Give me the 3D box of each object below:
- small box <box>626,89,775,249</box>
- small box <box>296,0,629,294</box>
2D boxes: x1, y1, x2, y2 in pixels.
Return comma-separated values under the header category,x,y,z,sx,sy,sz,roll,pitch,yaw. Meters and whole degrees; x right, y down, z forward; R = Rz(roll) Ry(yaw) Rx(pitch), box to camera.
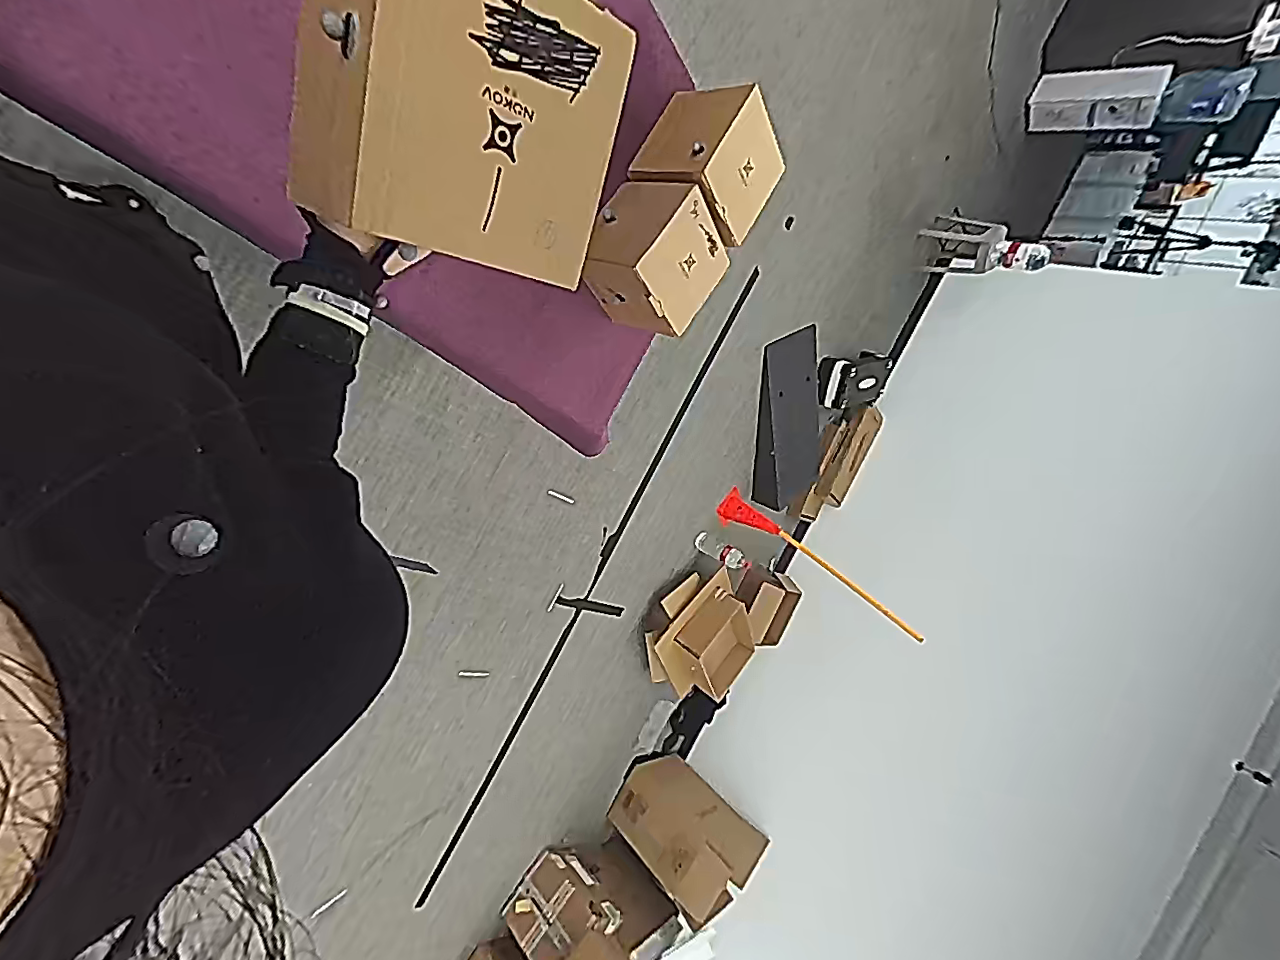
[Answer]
category,x,y,z,sx,sy,sz,roll,pitch,yaw
small box,0.105,-0.540,0.948,0.179,0.176,0.168,-60,143,-5
small box,-0.139,-0.259,0.402,0.168,0.176,0.179,-2,117,-45
